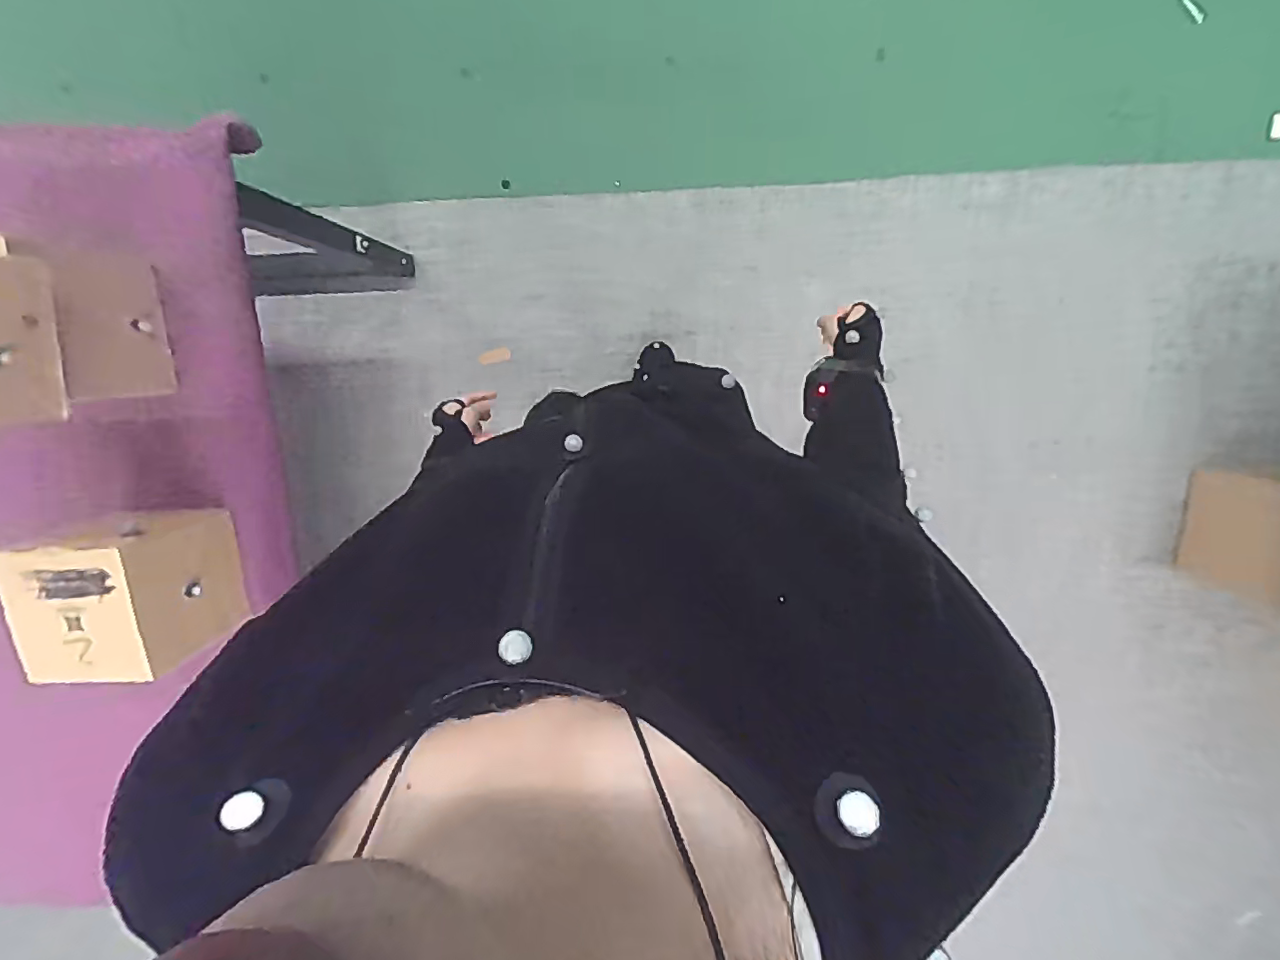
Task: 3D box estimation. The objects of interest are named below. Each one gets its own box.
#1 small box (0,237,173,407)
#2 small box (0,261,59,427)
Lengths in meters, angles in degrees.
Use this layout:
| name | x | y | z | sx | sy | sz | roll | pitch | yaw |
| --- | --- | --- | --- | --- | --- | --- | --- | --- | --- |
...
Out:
| name | x | y | z | sx | sy | sz | roll | pitch | yaw |
| --- | --- | --- | --- | --- | --- | --- | --- | --- | --- |
| small box | -0.723 | -0.178 | 0.652 | 0.168 | 0.176 | 0.179 | -2 | 101 | 3 |
| small box | -0.709 | -0.132 | 0.494 | 0.179 | 0.176 | 0.168 | 6 | 102 | 0 |
